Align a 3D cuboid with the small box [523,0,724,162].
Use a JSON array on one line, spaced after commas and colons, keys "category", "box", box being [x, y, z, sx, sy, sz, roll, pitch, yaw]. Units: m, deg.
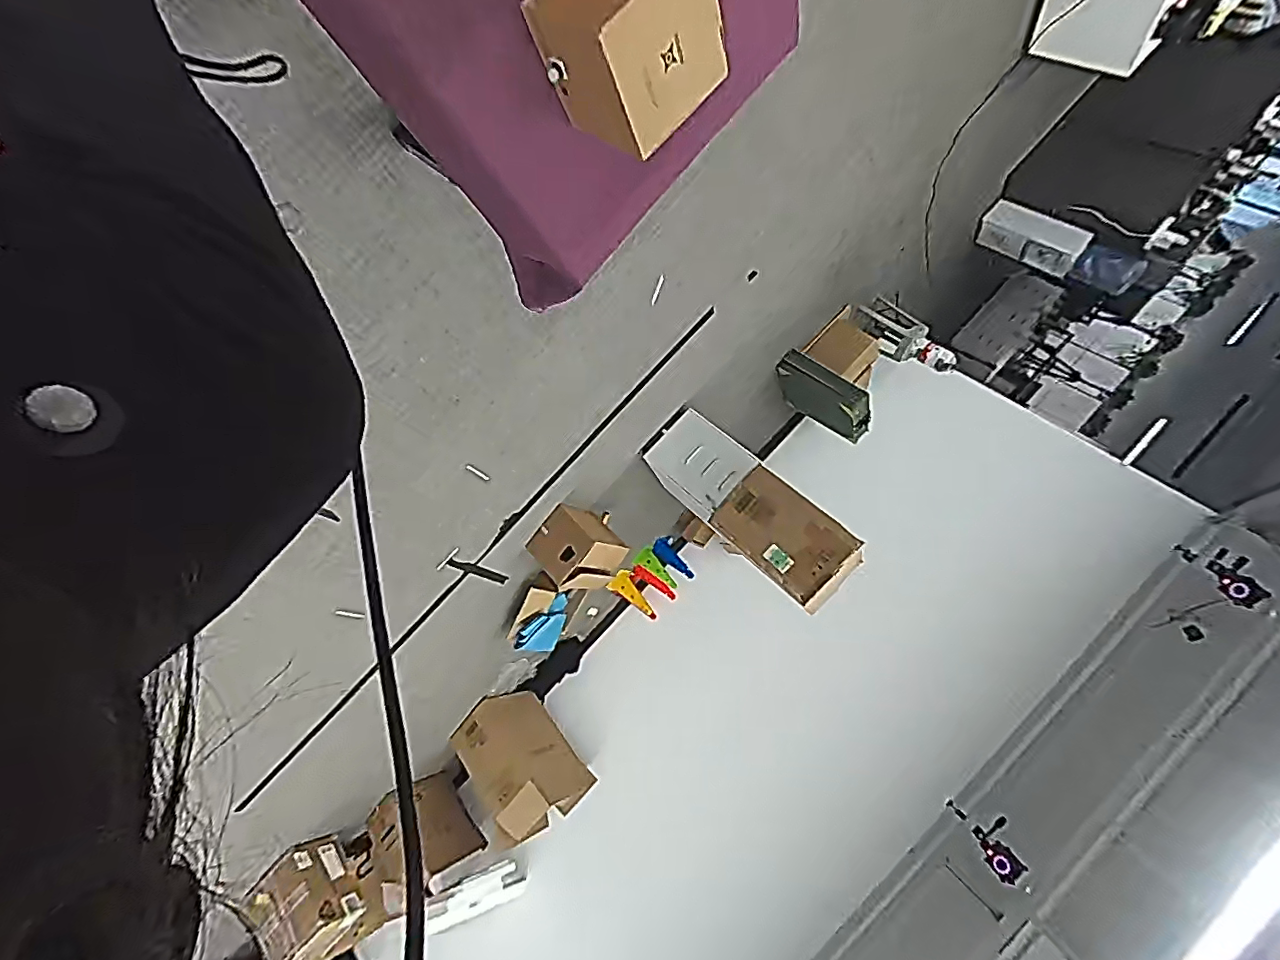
[{"category": "small box", "box": [-0.018, -0.574, 0.712, 0.179, 0.176, 0.168, -46, 152, -2]}]
